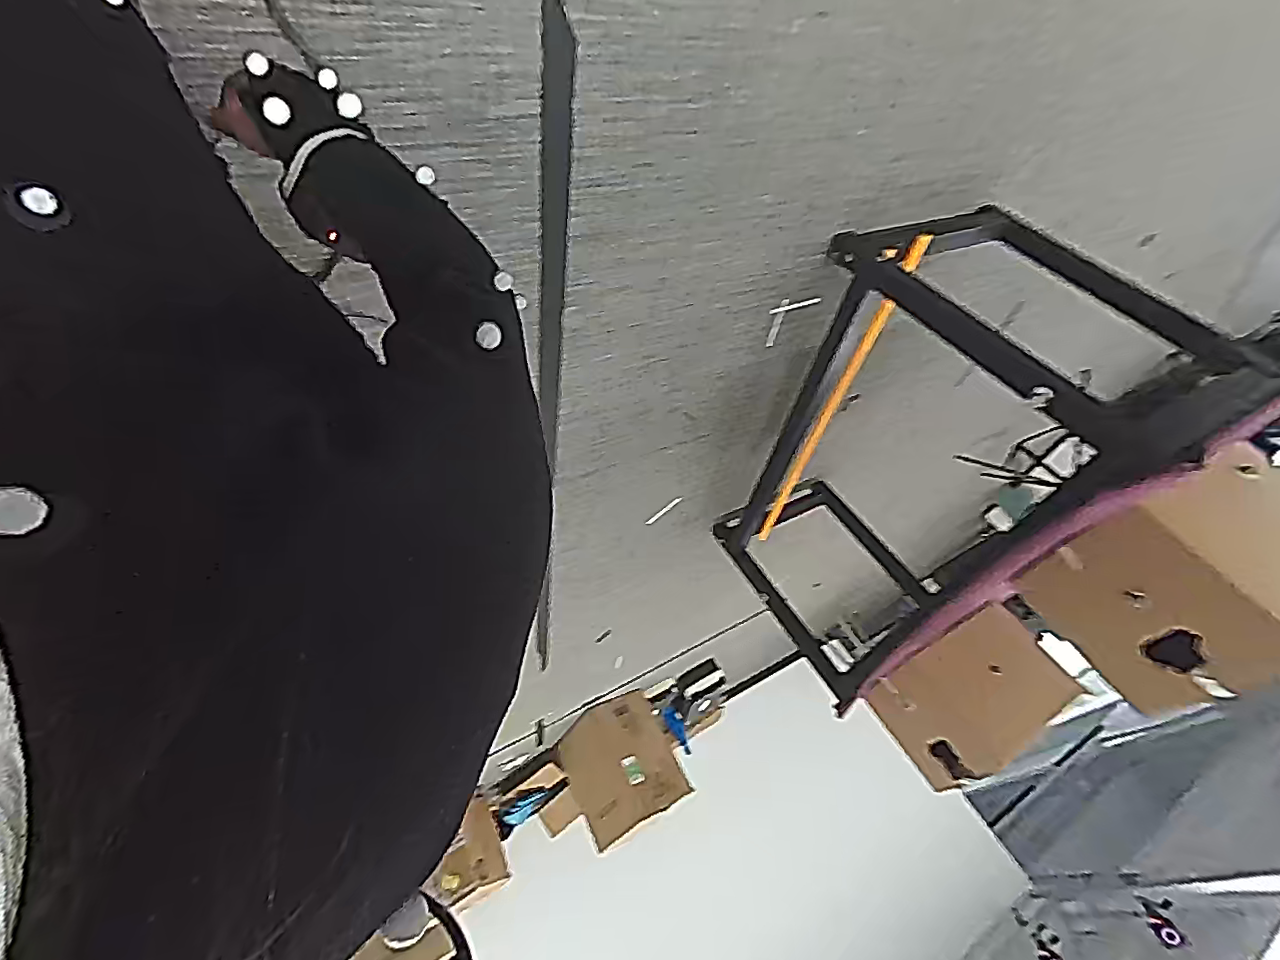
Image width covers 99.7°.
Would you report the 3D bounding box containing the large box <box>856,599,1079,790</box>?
[{"bbox_3d":[0.922,0.612,1.567,0.408,0.320,0.320,-21,147,-25],"label":"large box"}]
